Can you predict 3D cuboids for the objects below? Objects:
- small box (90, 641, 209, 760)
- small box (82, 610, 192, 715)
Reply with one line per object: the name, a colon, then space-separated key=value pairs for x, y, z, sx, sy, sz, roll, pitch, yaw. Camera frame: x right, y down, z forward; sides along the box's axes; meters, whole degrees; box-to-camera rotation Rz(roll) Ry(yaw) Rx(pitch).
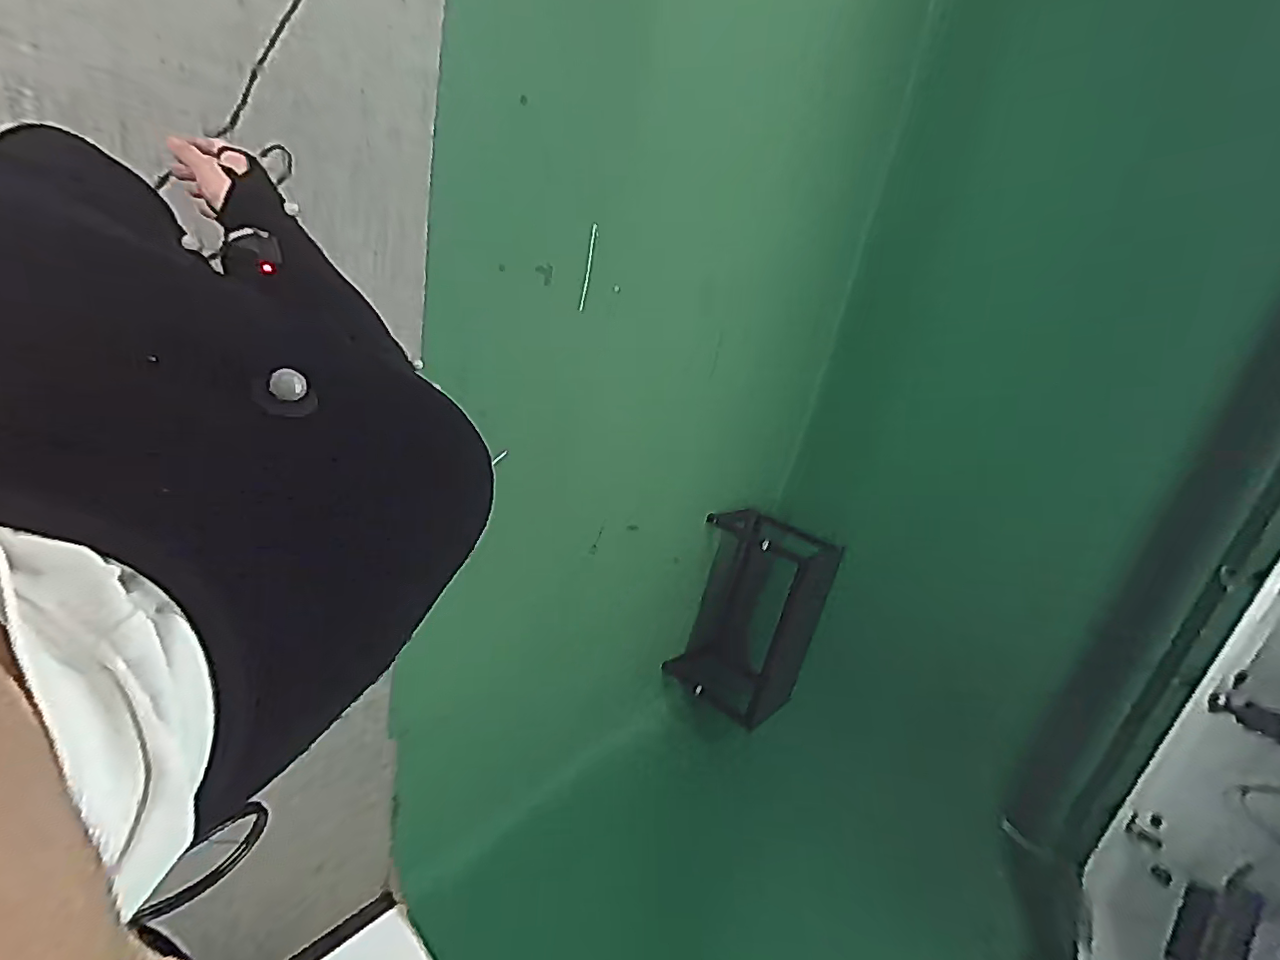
small box: x=-1.138 y=0.499 z=1.251 sx=0.179 sy=0.176 sz=0.168 roll=2 pitch=110 yaw=-53
small box: x=-1.259 y=0.447 z=1.351 sx=0.179 sy=0.176 sz=0.168 roll=2 pitch=109 yaw=-52
